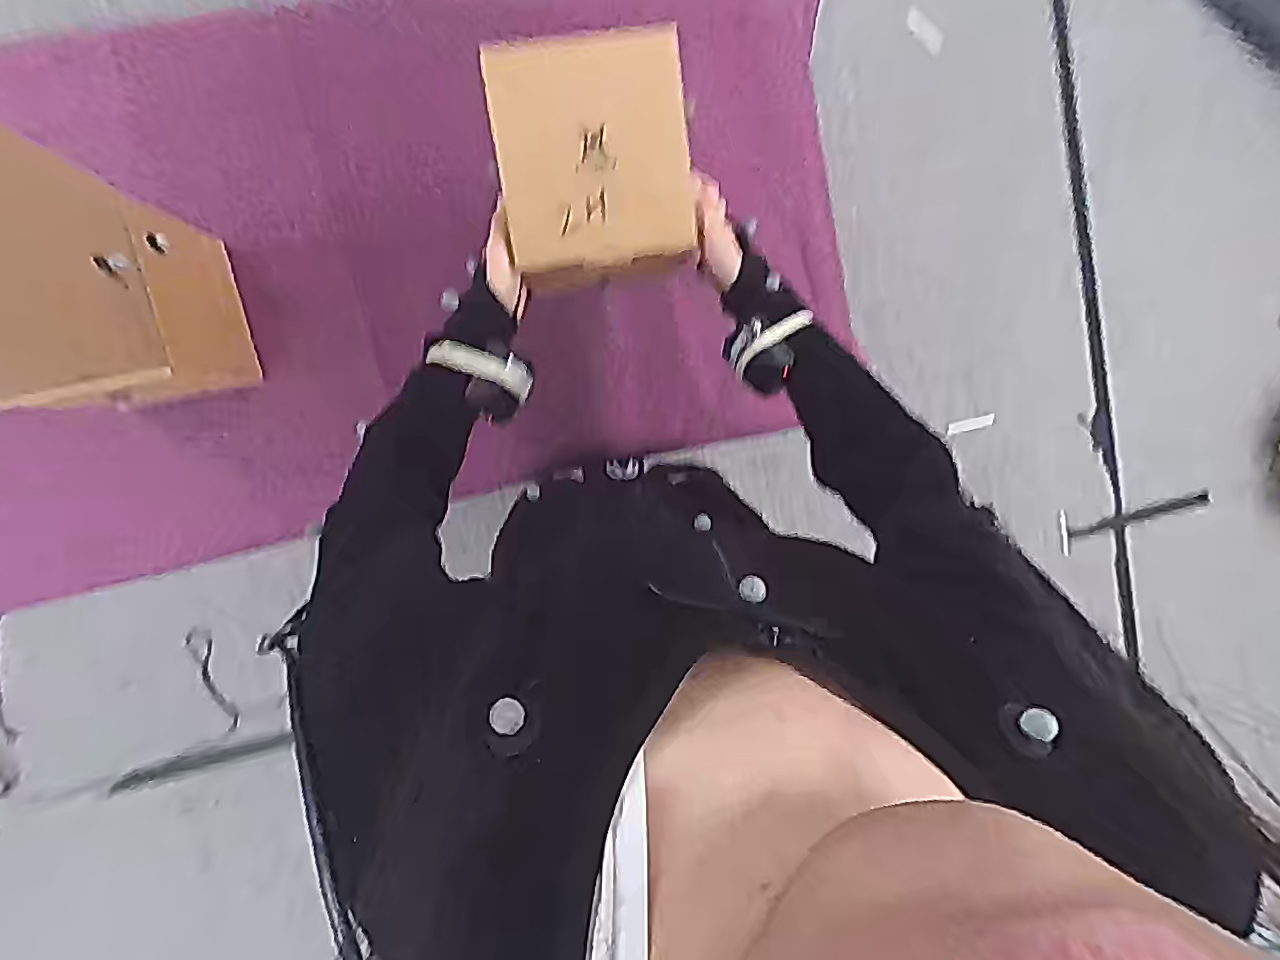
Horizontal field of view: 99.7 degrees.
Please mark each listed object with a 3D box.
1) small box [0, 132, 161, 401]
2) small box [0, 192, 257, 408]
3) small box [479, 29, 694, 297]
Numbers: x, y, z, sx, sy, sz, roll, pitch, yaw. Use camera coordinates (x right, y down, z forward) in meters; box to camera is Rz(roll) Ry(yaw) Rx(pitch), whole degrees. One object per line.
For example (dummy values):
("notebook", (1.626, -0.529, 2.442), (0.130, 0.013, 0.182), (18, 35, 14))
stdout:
("small box", (-0.541, -0.166, 0.423), (0.168, 0.176, 0.179), (-13, 97, -6))
("small box", (-0.561, -0.178, 0.585), (0.168, 0.176, 0.179), (-13, 98, -6))
("small box", (-0.048, -0.293, 0.538), (0.168, 0.176, 0.179), (-8, 101, -2))
